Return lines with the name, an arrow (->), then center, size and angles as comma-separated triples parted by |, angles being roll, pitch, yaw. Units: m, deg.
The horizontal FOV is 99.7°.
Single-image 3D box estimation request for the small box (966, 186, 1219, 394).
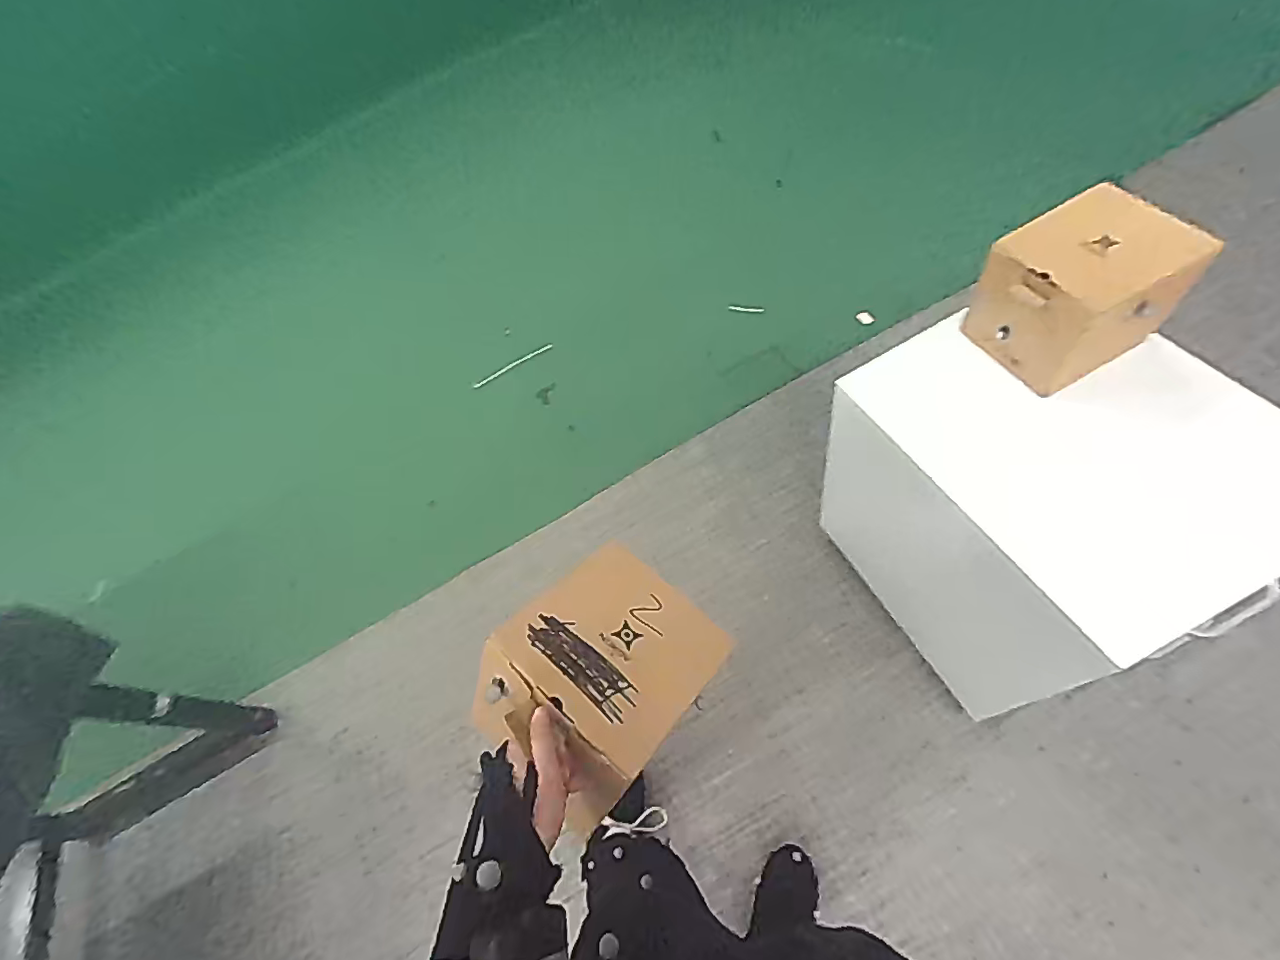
small box -> 0.595, -0.254, 0.745 | 0.179, 0.176, 0.168 | -29, 59, -1
